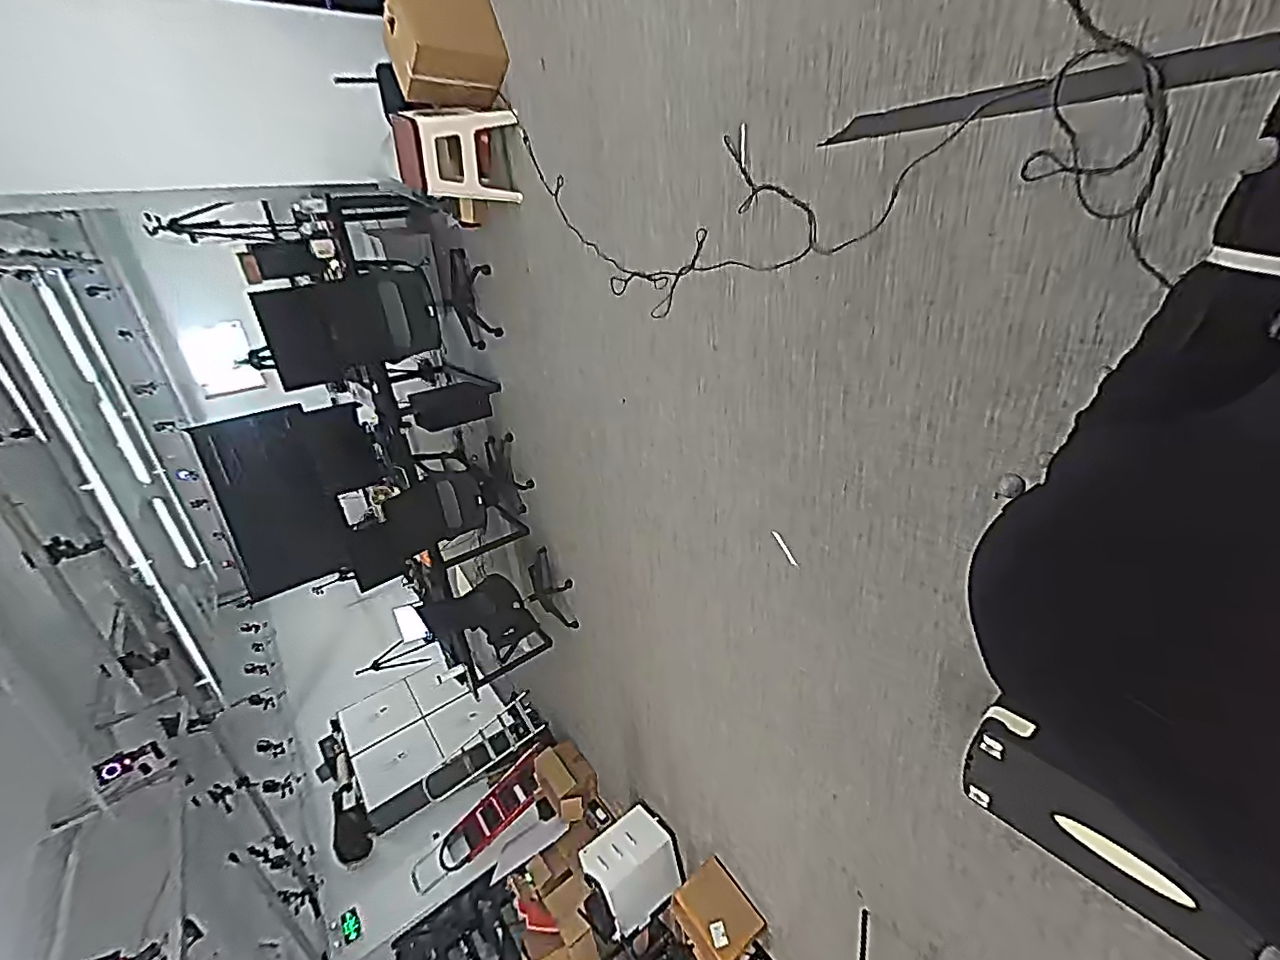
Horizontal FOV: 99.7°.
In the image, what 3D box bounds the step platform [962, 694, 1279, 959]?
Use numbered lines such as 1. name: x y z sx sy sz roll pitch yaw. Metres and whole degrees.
1. step platform: 1.152 0.832 1.275 0.684 0.204 0.286 25 129 47
